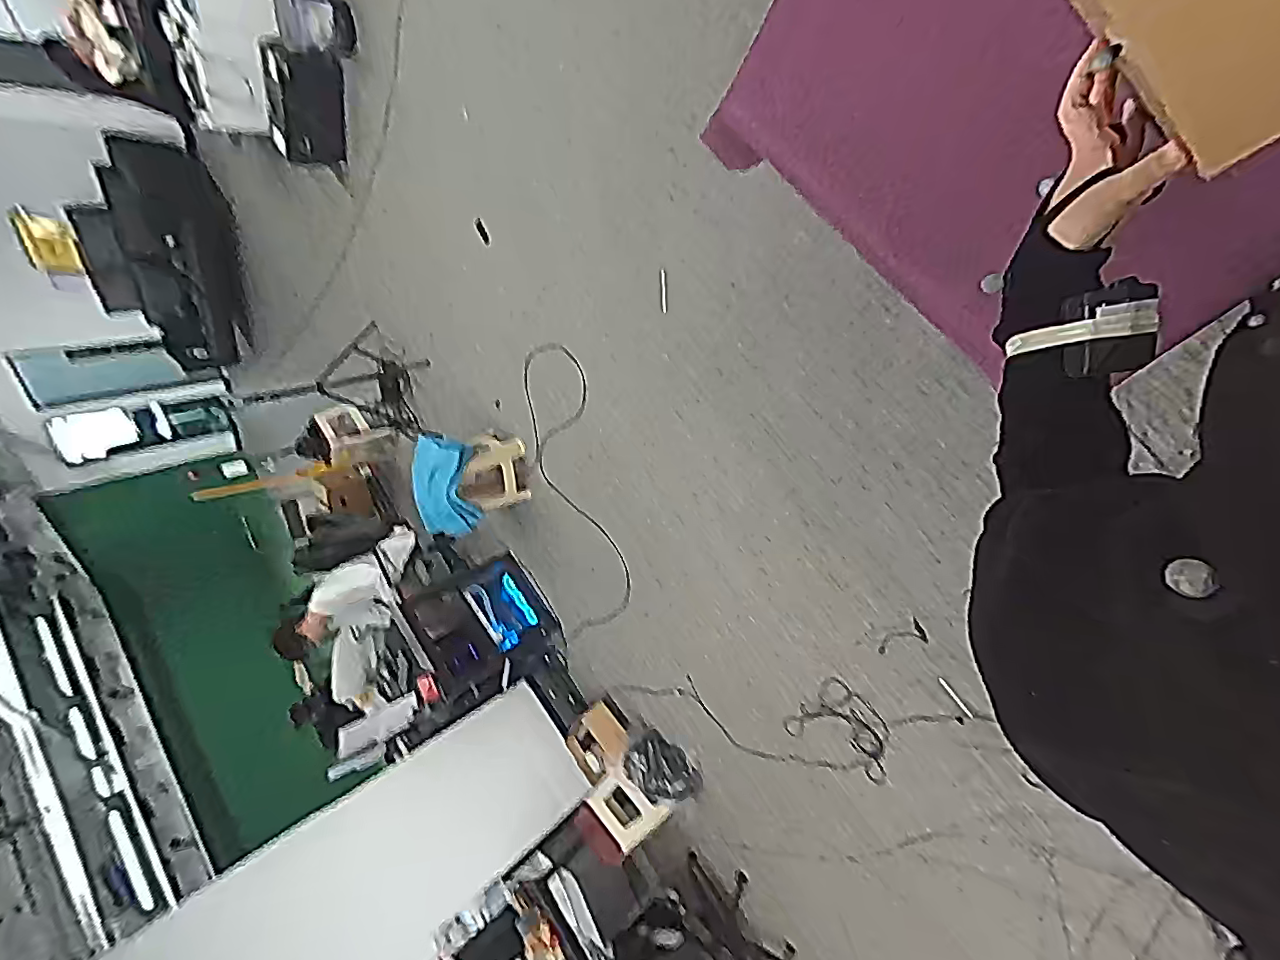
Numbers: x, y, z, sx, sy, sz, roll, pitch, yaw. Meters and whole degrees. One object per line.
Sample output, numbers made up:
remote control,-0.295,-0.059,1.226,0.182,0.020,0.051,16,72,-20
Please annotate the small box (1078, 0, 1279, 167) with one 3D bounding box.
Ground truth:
small box,0.360,-0.305,0.292,0.179,0.176,0.168,54,138,-4
